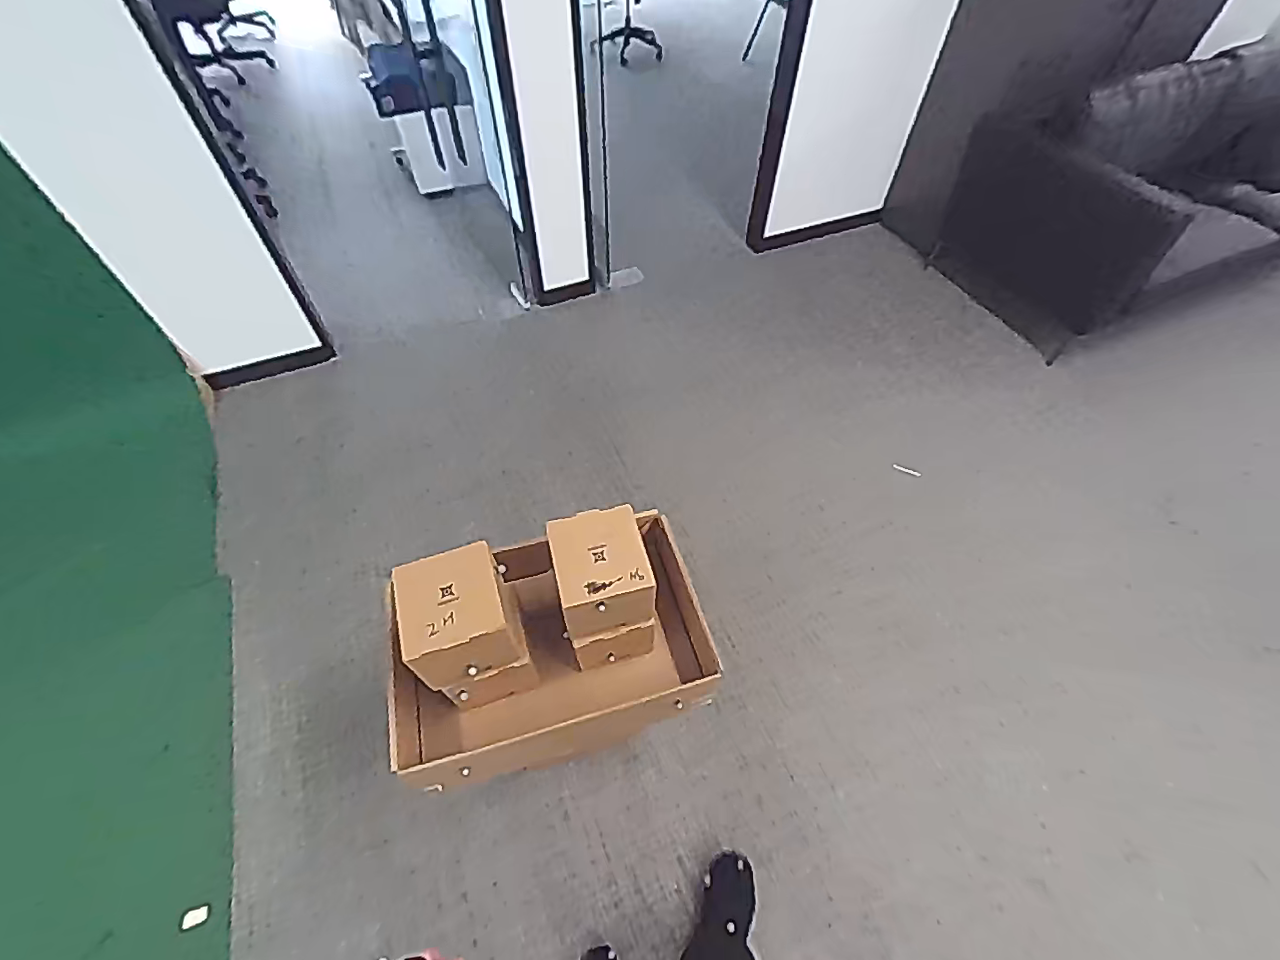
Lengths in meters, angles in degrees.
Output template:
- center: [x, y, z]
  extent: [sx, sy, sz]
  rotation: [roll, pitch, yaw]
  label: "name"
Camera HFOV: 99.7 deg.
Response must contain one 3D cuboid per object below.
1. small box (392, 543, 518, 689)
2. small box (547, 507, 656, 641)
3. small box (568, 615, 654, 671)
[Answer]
- center: [-0.324, 0.243, 0.961]
  extent: [0.168, 0.176, 0.179]
  rotation: [-16, 57, -12]
  label: "small box"
- center: [-0.075, 0.179, 1.018]
  extent: [0.168, 0.176, 0.179]
  rotation: [-12, 56, -10]
  label: "small box"
- center: [-0.077, 0.279, 1.148]
  extent: [0.168, 0.176, 0.179]
  rotation: [-13, 58, -11]
  label: "small box"
